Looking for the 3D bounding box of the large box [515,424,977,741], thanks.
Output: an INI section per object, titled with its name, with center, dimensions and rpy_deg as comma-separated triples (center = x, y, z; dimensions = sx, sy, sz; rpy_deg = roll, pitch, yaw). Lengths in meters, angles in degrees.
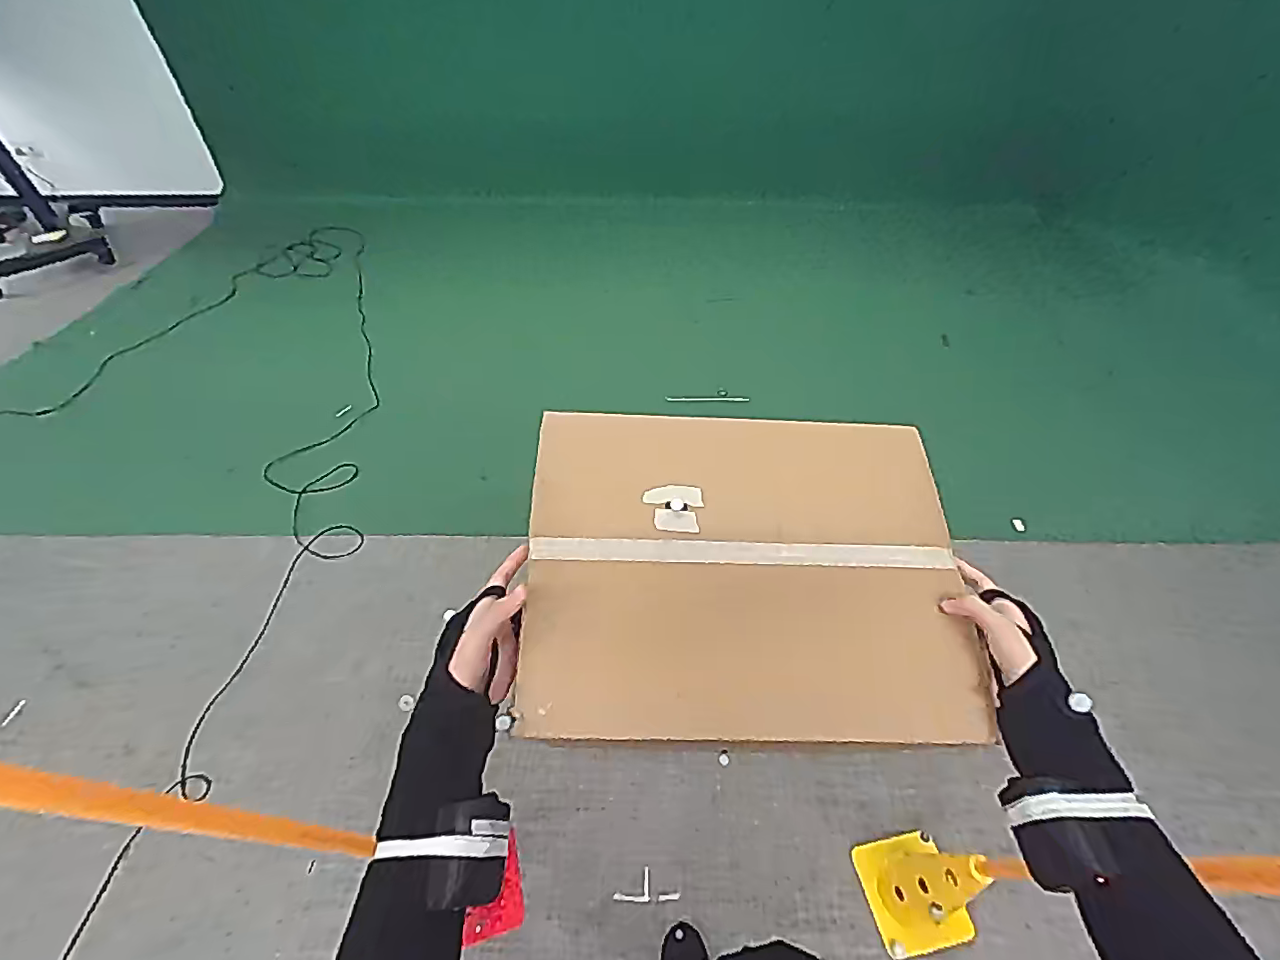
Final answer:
[large box]
center = 0.088, 0.143, 0.654
dimensions = 0.408, 0.320, 0.320
rpy_deg = 1, 62, -2
